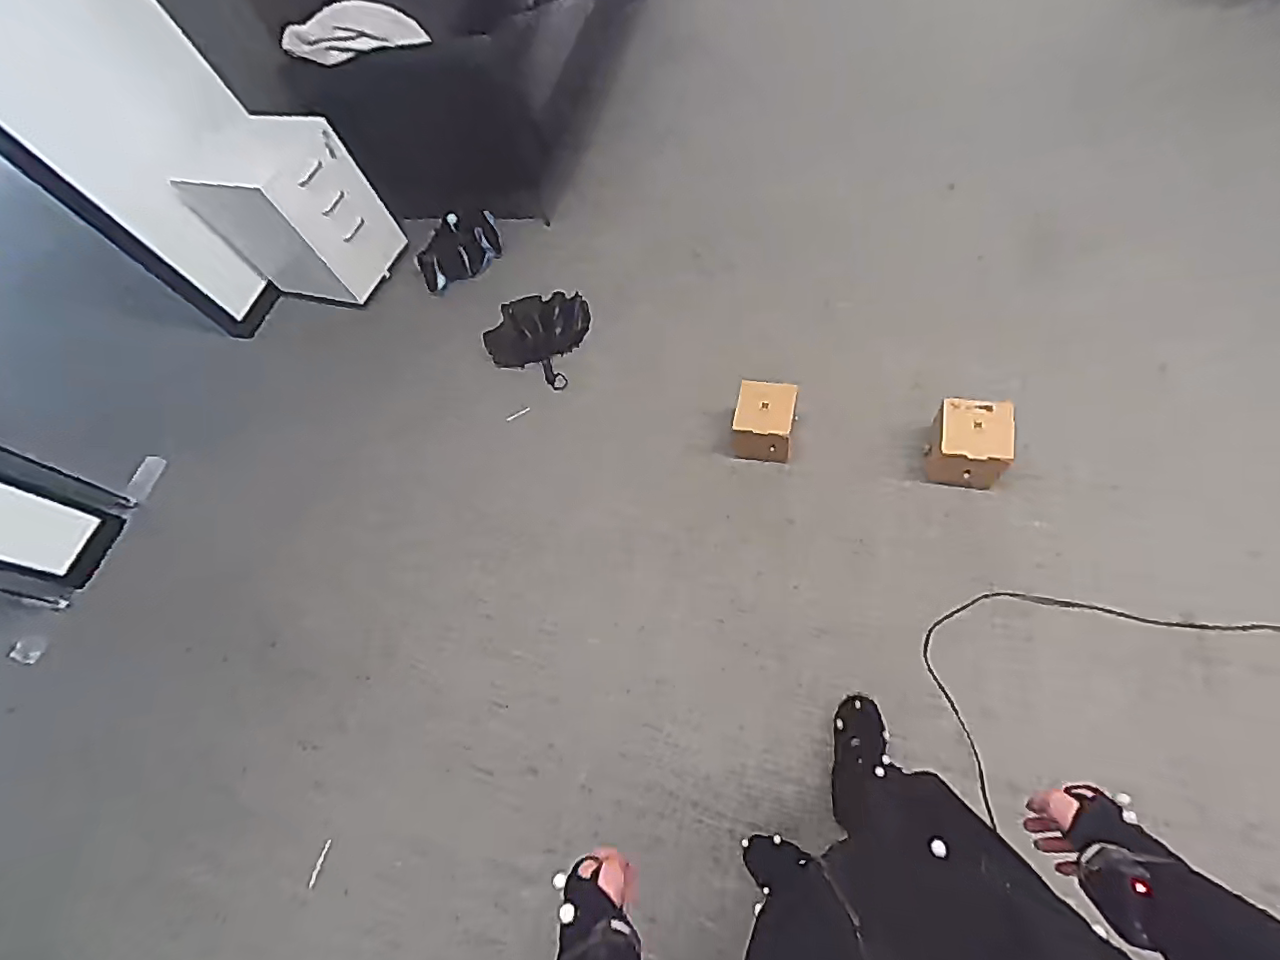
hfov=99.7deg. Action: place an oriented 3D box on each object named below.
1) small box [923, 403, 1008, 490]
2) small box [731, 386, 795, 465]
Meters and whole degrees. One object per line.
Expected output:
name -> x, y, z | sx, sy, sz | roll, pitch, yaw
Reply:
small box -> 0.894, -0.089, 1.494 | 0.168, 0.176, 0.179 | 8, 66, 18
small box -> 0.378, -0.164, 1.660 | 0.168, 0.176, 0.179 | 8, 64, 16
